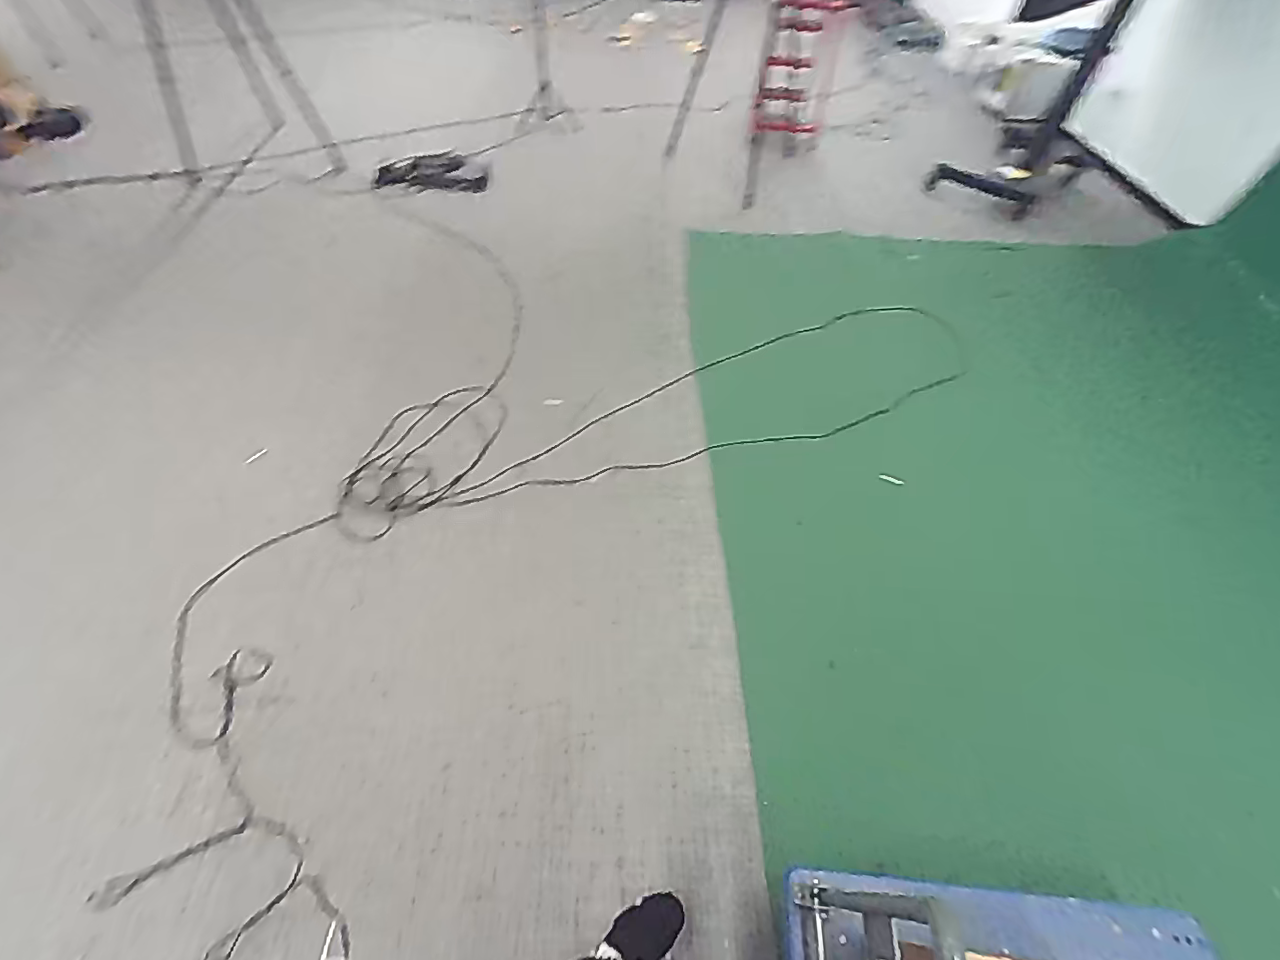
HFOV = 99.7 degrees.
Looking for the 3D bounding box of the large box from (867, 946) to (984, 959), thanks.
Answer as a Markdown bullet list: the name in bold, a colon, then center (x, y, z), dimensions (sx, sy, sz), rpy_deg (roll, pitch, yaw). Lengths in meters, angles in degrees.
- **large box**: center (0.639, 0.990, 0.874), dimensions (0.408, 0.320, 0.320), rpy_deg (9, 53, 2)
